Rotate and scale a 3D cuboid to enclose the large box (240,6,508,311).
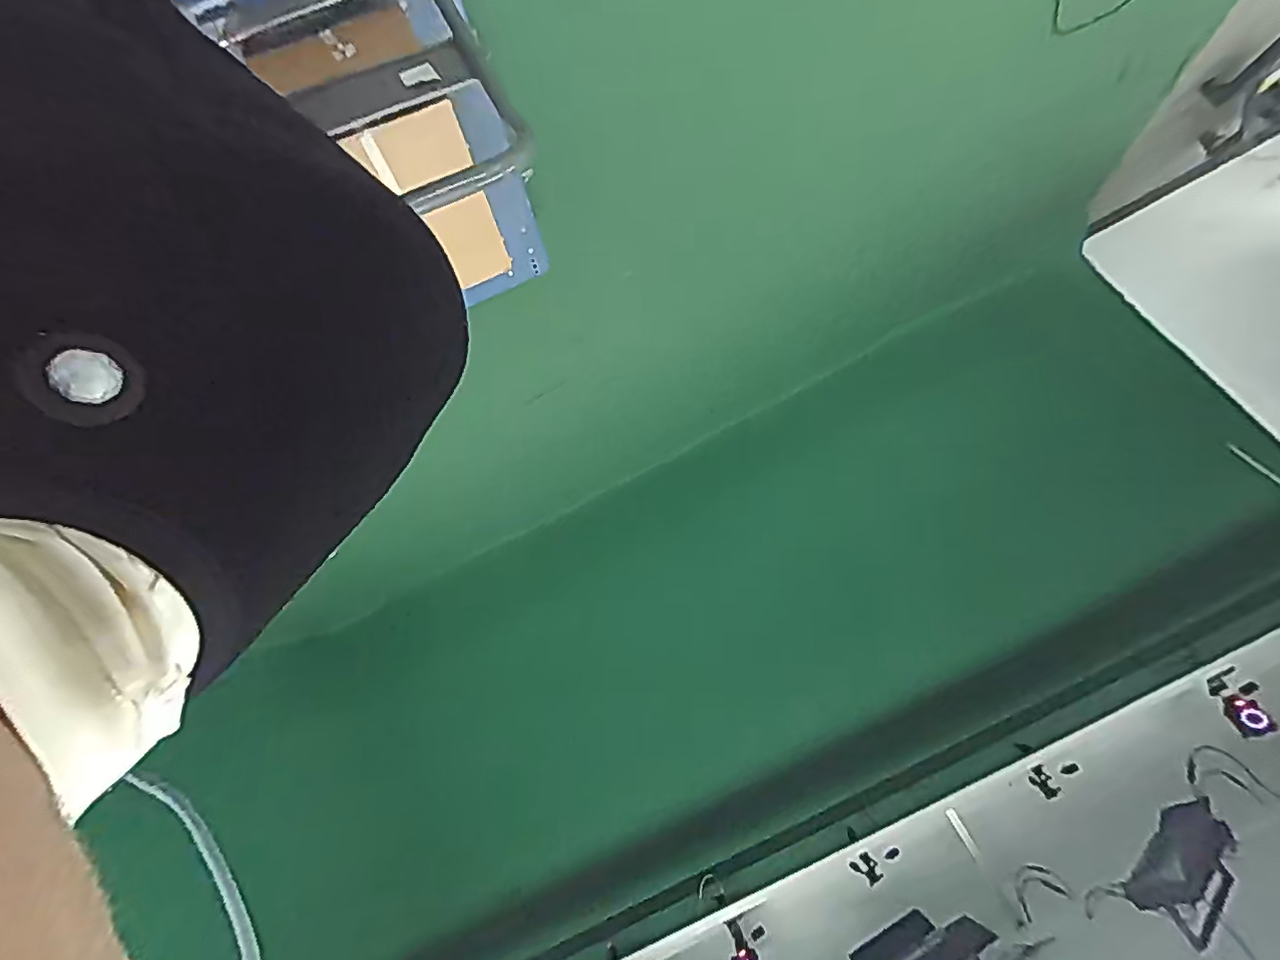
[{"bbox_3d":[-0.533,-0.653,1.149,0.320,0.320,0.408,-25,159,-6],"label":"large box"}]
